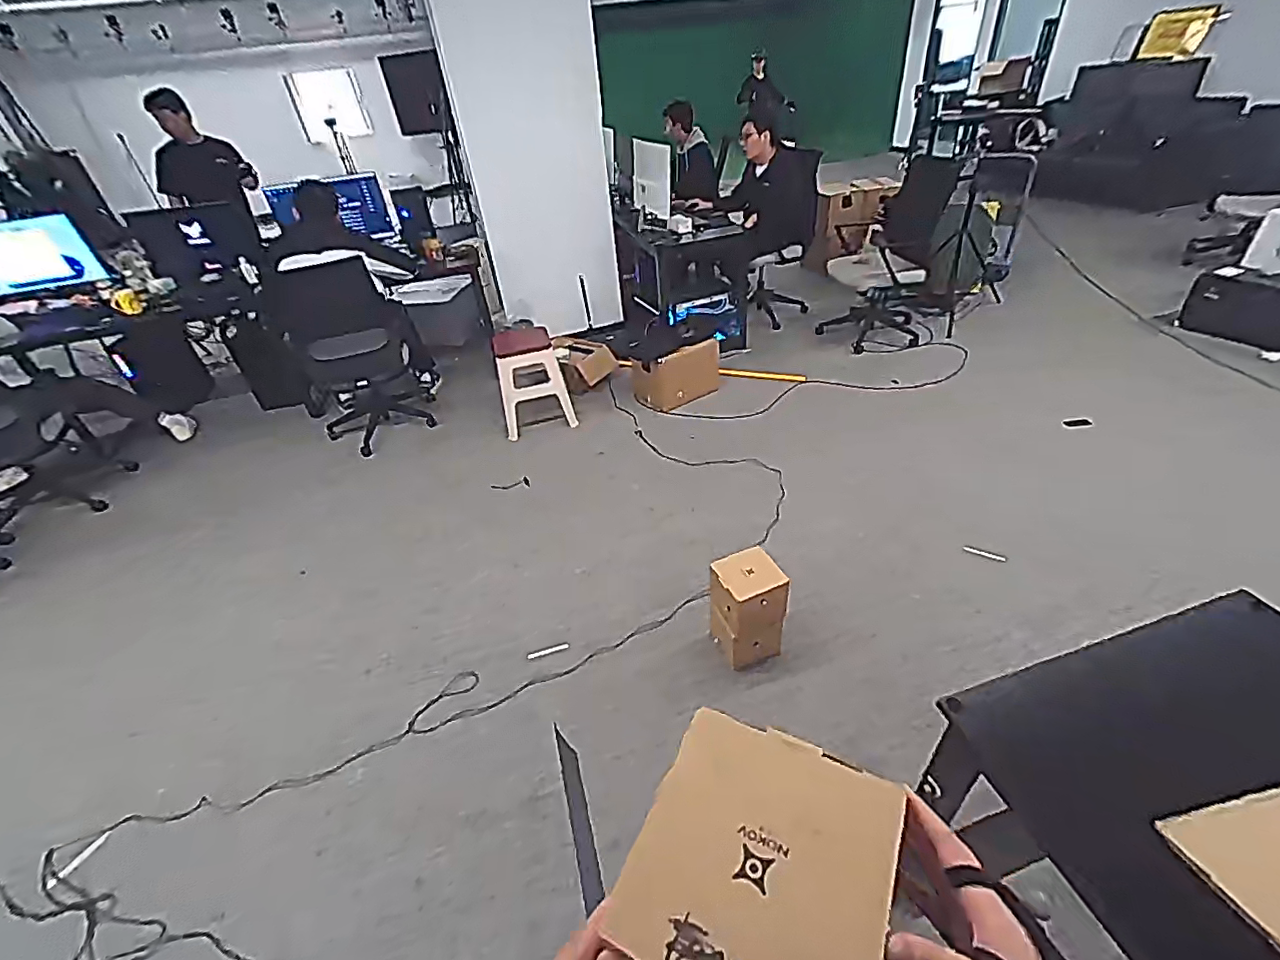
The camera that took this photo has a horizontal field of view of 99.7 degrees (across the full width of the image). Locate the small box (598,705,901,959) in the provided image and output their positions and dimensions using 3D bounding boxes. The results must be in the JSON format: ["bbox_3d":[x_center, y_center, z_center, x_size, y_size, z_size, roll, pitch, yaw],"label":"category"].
[{"bbox_3d":[0.092,0.321,0.419,0.168,0.176,0.179,10,40,28],"label":"small box"}]

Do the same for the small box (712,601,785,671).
[{"bbox_3d":[0.343,0.476,1.732,0.179,0.176,0.168,-17,38,-12],"label":"small box"}]

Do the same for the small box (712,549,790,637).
[{"bbox_3d":[0.332,0.344,1.638,0.179,0.176,0.168,-18,39,-16],"label":"small box"}]
